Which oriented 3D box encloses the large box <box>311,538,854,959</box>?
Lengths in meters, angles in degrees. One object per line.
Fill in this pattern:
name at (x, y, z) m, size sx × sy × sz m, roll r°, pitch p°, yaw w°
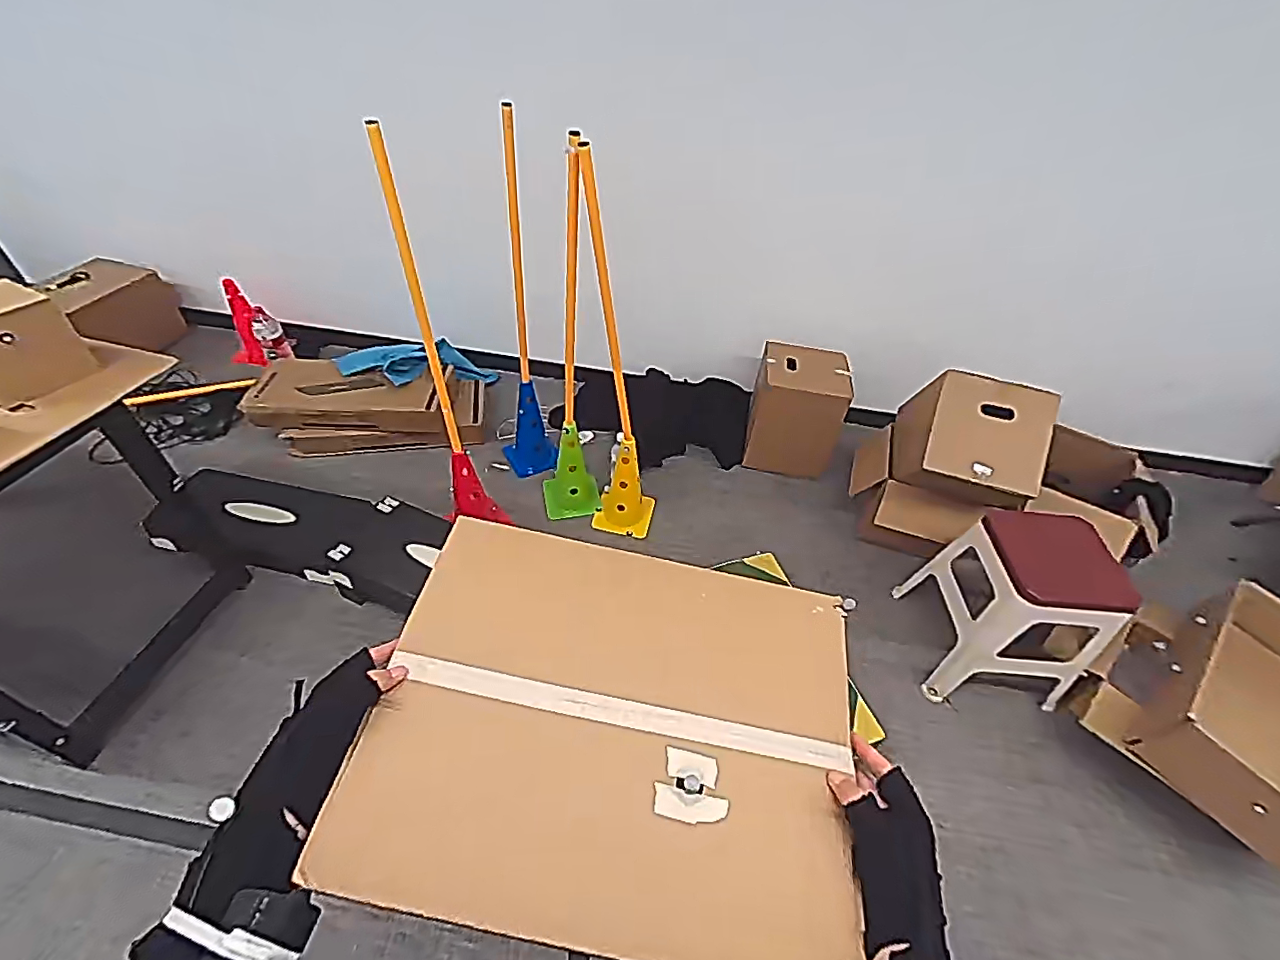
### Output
large box at (-0.038, 0.305, 0.589) m, size 0.408 × 0.320 × 0.320 m, roll 12°, pitch 52°, yaw 0°
